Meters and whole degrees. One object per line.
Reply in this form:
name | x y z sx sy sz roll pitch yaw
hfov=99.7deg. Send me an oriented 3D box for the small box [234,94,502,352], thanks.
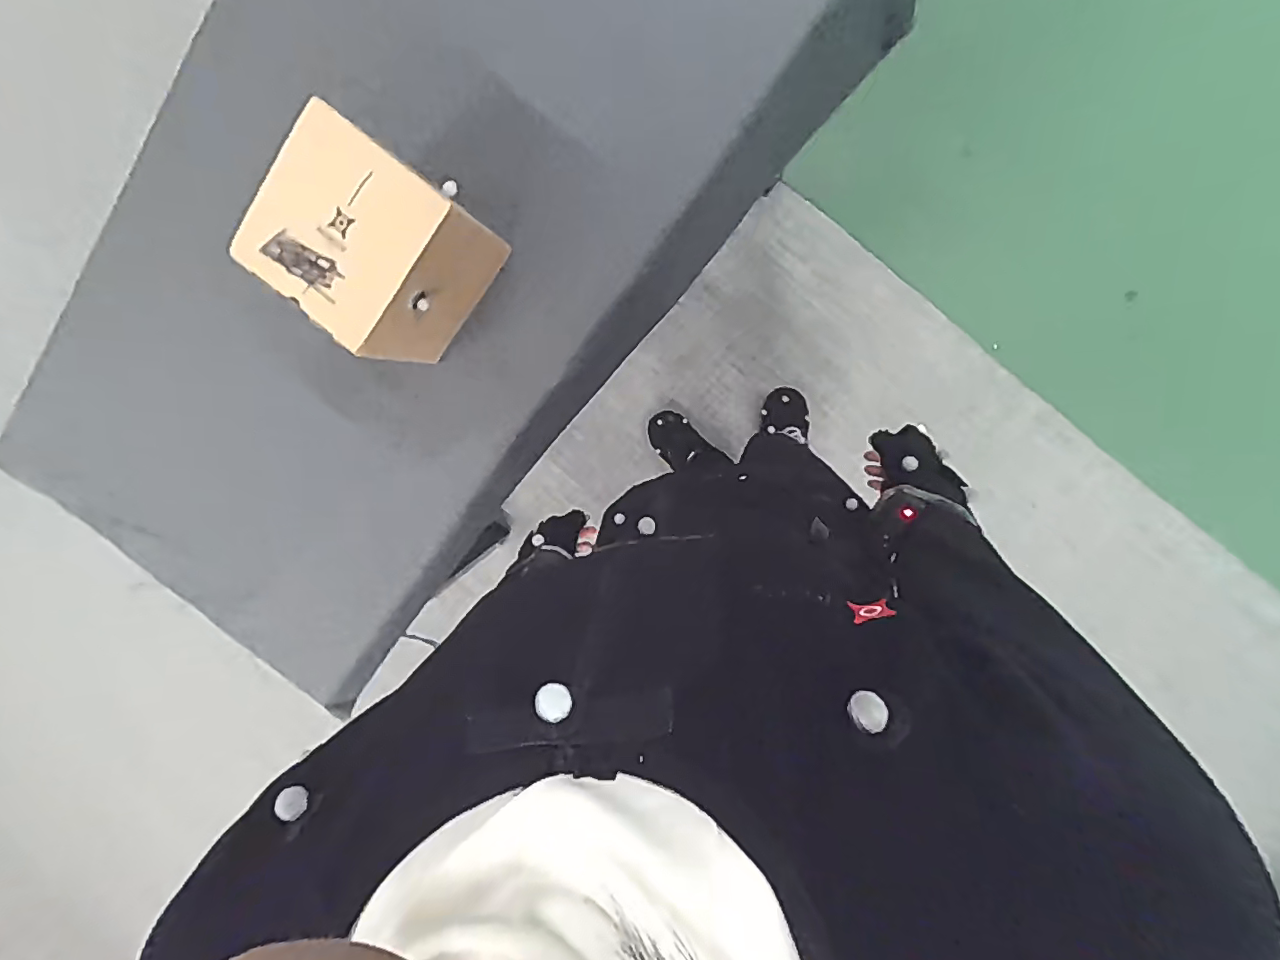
small box | -0.283 -0.261 0.603 0.168 0.176 0.179 39 101 -1
